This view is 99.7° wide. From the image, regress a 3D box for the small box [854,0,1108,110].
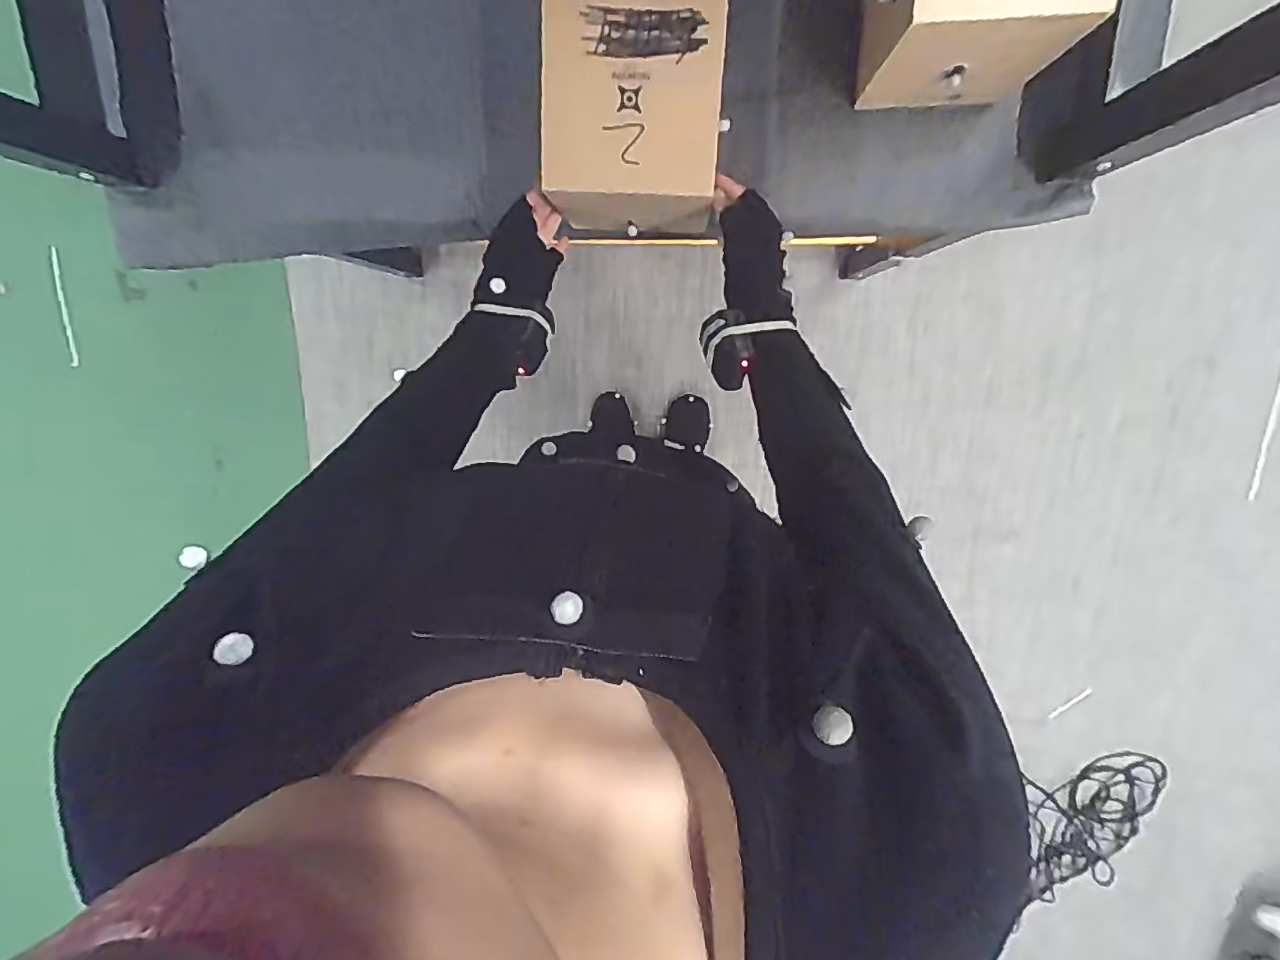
[{"bbox_3d":[0.319,-0.486,0.525,0.168,0.176,0.179,0,102,3],"label":"small box"}]
